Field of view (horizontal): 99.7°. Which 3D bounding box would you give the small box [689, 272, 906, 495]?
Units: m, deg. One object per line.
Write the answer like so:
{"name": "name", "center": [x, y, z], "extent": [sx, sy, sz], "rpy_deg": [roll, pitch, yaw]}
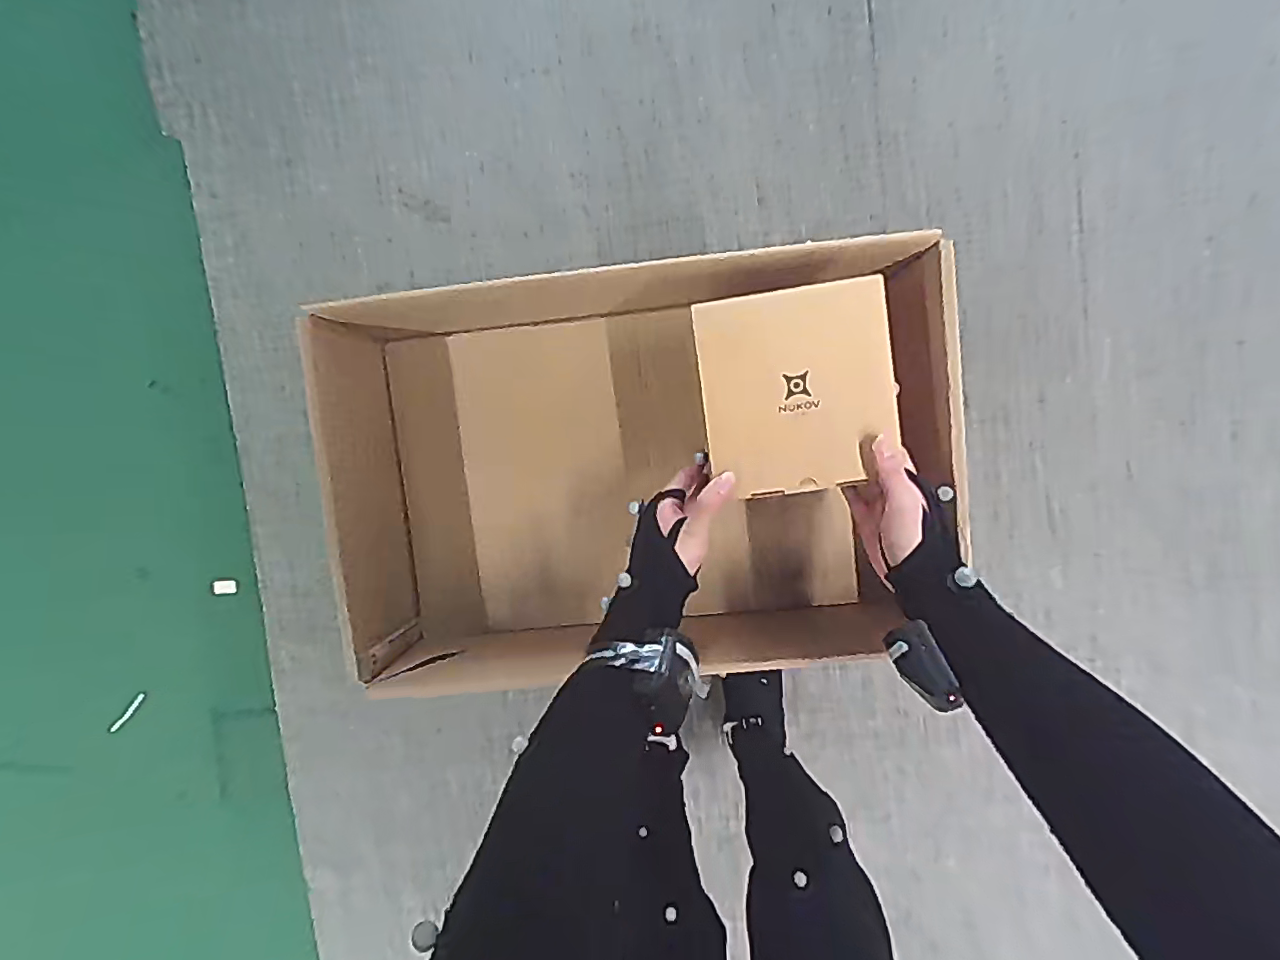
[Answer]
{"name": "small box", "center": [0.142, -0.087, 0.545], "extent": [0.168, 0.176, 0.179], "rpy_deg": [-8, 94, 4]}
